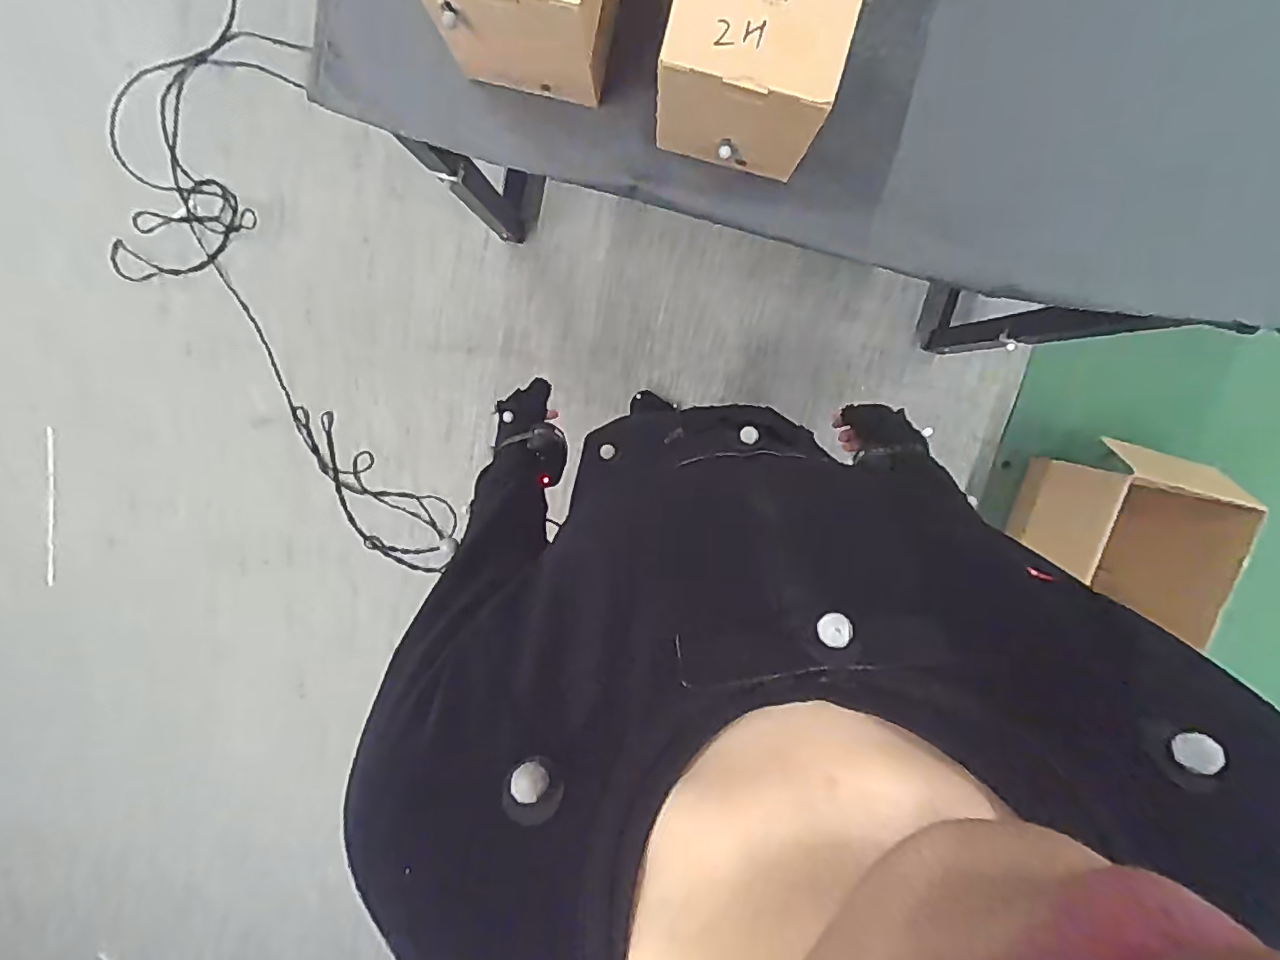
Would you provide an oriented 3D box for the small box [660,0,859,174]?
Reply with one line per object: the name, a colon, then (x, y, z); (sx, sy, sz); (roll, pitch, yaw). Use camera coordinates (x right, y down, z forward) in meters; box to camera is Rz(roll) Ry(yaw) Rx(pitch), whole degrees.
small box: (0.117, -0.458, 0.559); (0.168, 0.176, 0.179); (14, 98, -1)
